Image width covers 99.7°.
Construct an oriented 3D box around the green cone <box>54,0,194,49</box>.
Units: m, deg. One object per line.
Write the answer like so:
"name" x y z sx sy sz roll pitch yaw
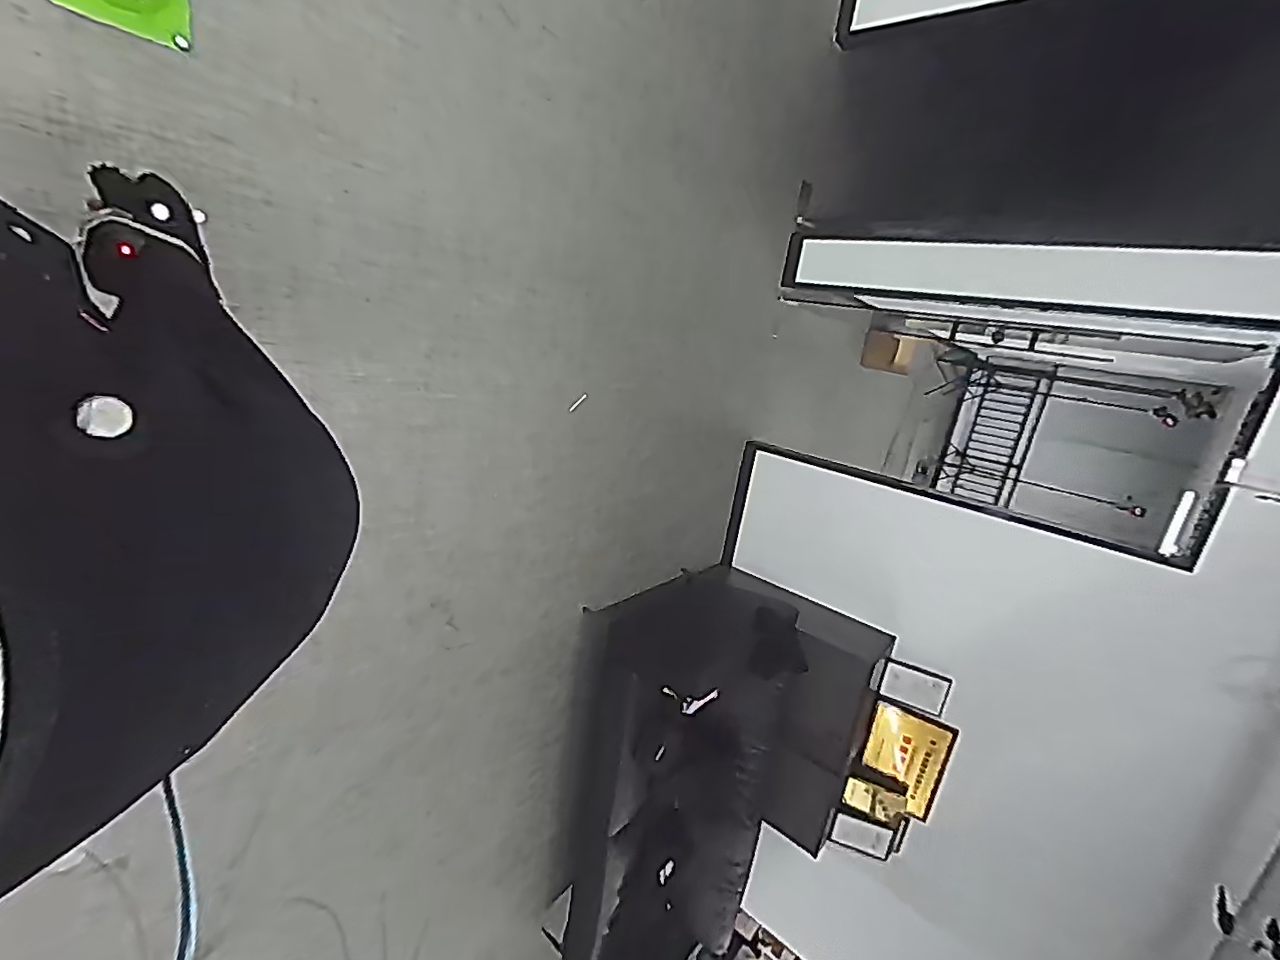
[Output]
"green cone" -0.775 -0.849 0.831 0.202 0.368 0.200 -11 115 -49
